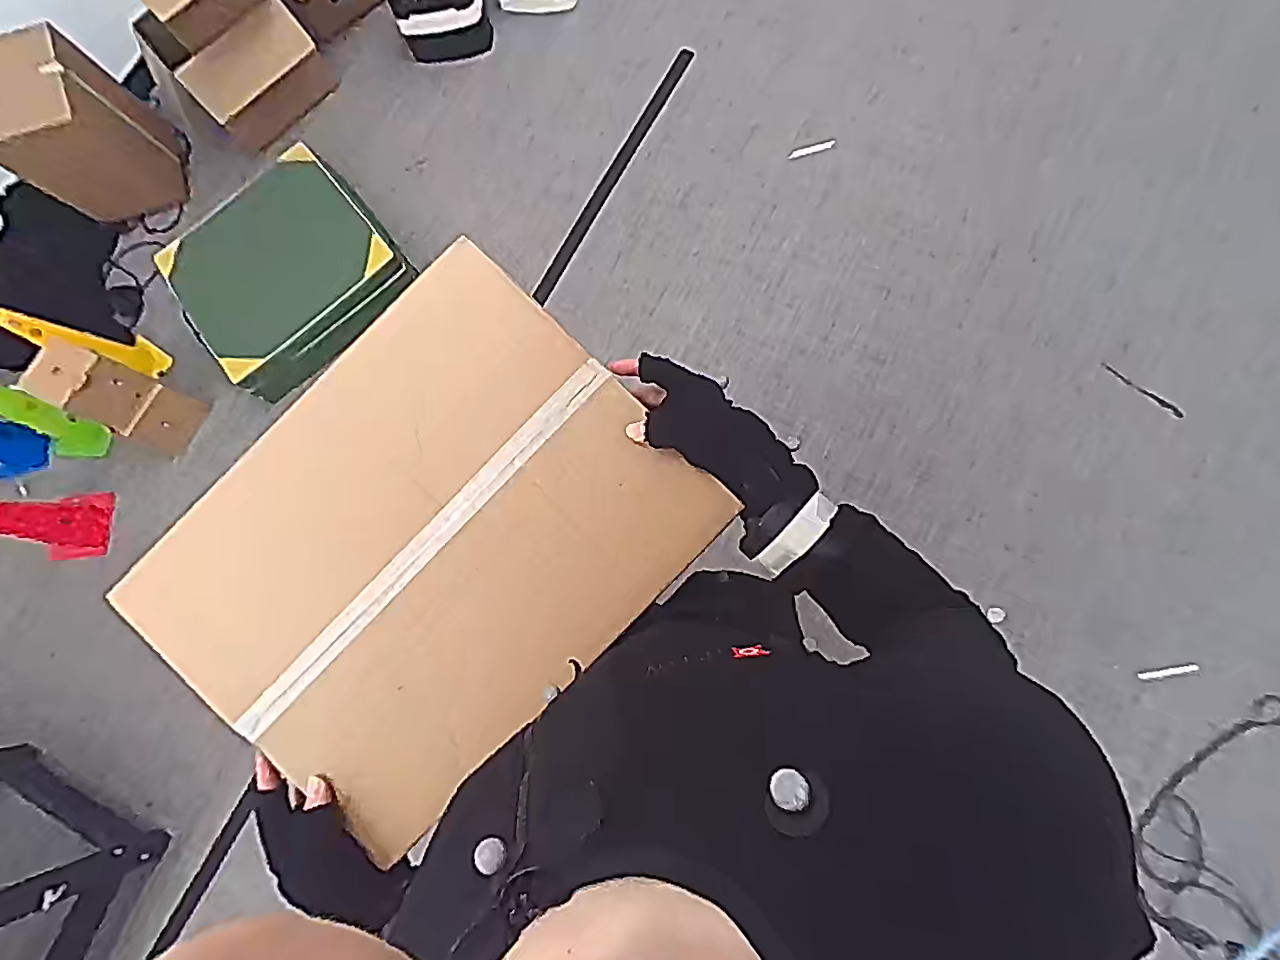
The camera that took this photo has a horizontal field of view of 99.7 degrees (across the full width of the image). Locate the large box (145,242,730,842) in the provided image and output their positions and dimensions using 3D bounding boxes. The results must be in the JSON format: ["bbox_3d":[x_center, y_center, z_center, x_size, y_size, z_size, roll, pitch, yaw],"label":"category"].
[{"bbox_3d":[-0.166,0.053,0.589,0.320,0.320,0.408,45,90,0],"label":"large box"}]
